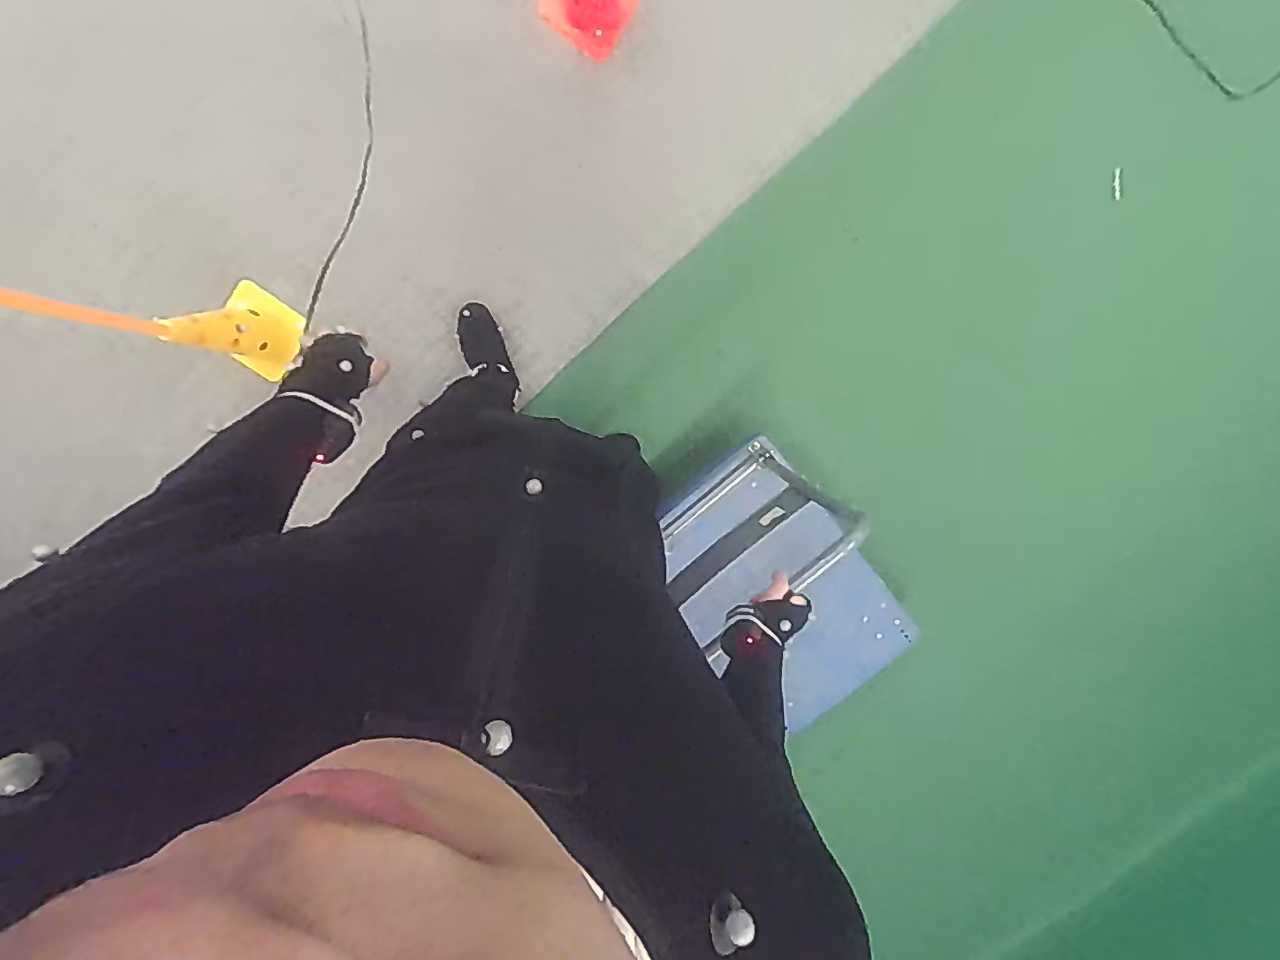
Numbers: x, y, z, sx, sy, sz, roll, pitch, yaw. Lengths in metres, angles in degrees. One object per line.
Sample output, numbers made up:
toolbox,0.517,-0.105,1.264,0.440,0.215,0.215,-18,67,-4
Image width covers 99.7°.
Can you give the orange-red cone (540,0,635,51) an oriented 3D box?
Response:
orange-red cone,-0.099,-1.140,1.140,0.198,0.360,0.199,32,99,-14
